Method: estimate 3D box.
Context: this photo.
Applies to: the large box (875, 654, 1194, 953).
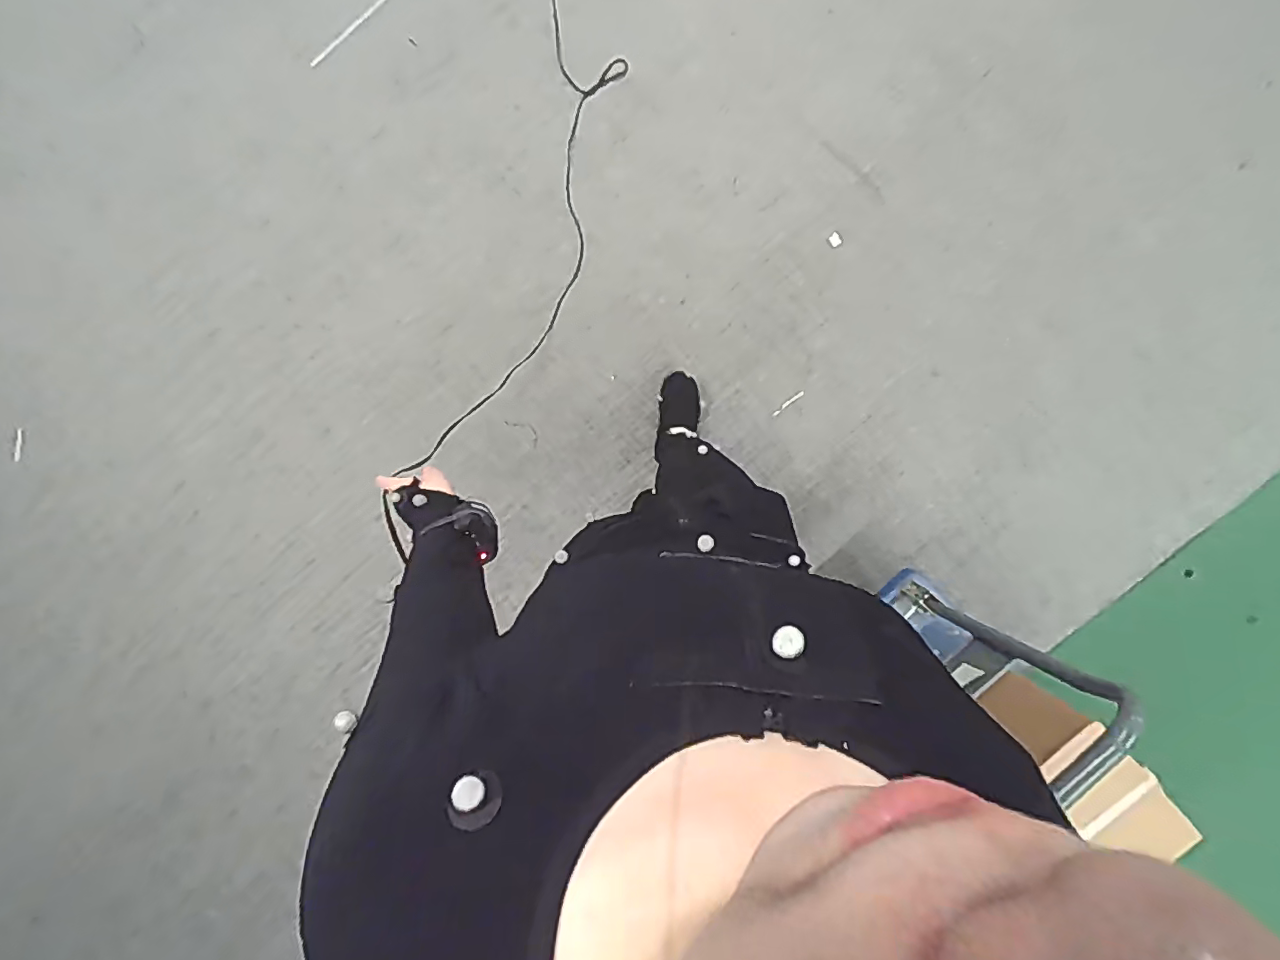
[{"bbox_3d":[0.820,0.669,1.186,0.408,0.320,0.320,-43,90,3],"label":"large box"}]
